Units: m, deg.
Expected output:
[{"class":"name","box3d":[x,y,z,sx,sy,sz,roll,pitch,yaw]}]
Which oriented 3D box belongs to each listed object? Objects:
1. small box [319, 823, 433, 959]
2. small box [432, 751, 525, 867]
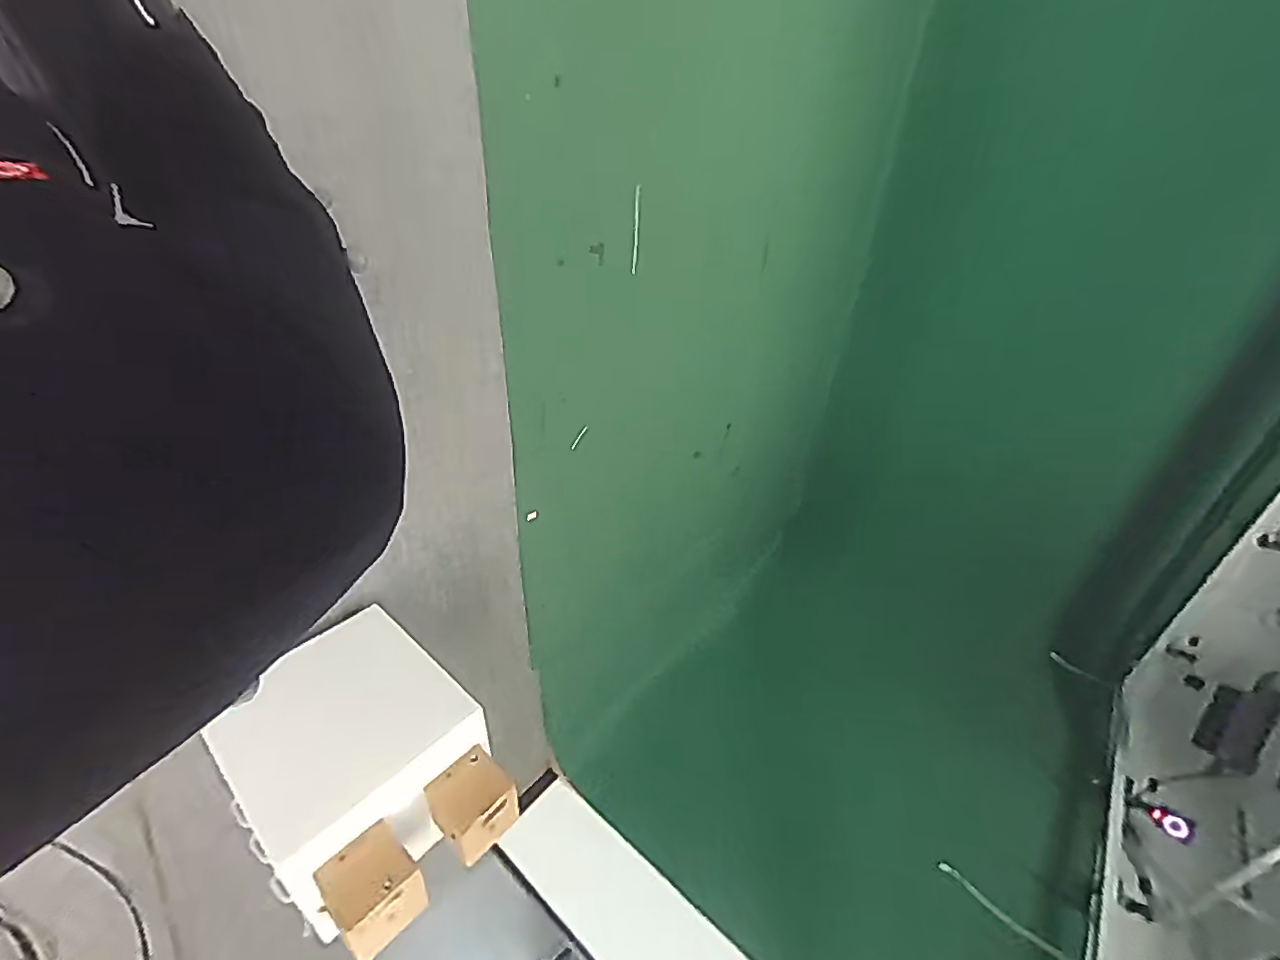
[{"class":"small box","box3d":[-0.599,0.937,1.235,0.168,0.176,0.179,-29,134,-44]},{"class":"small box","box3d":[-0.426,0.853,1.424,0.168,0.176,0.179,-30,135,-41]}]
